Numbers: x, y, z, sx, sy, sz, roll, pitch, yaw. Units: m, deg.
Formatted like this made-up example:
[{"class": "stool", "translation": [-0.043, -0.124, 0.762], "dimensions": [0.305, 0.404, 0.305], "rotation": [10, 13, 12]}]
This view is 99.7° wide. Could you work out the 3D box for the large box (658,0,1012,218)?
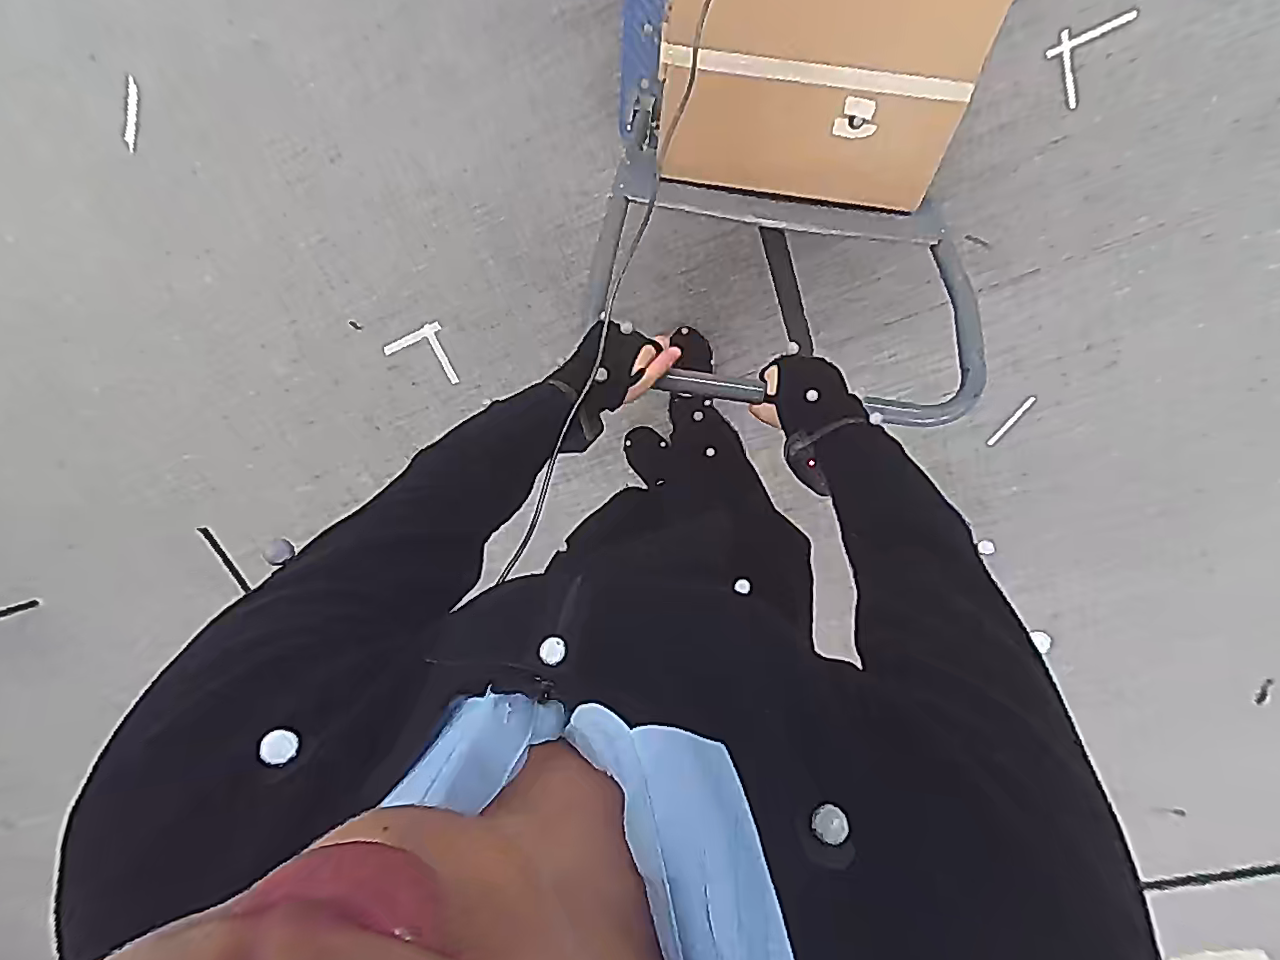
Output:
[{"class": "large box", "translation": [0.248, -0.637, 0.814], "dimensions": [0.408, 0.320, 0.320], "rotation": [8, 140, -1]}]
